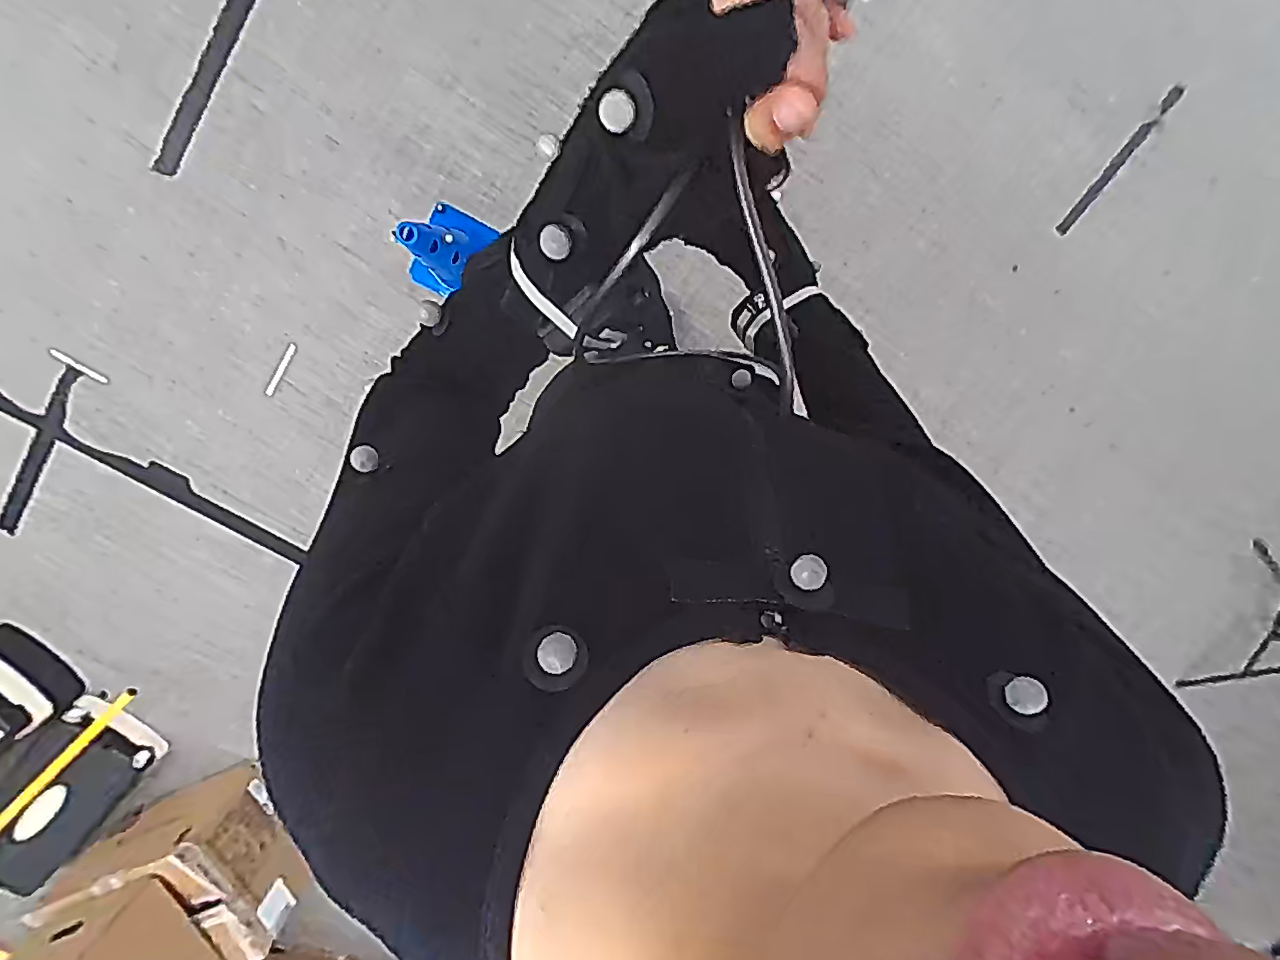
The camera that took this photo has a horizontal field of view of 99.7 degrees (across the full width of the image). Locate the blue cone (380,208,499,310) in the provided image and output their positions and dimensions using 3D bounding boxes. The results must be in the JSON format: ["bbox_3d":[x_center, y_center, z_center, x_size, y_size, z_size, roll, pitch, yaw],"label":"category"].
[{"bbox_3d":[-0.447,-0.490,1.152,0.192,0.380,0.193,28,102,-8],"label":"blue cone"}]
